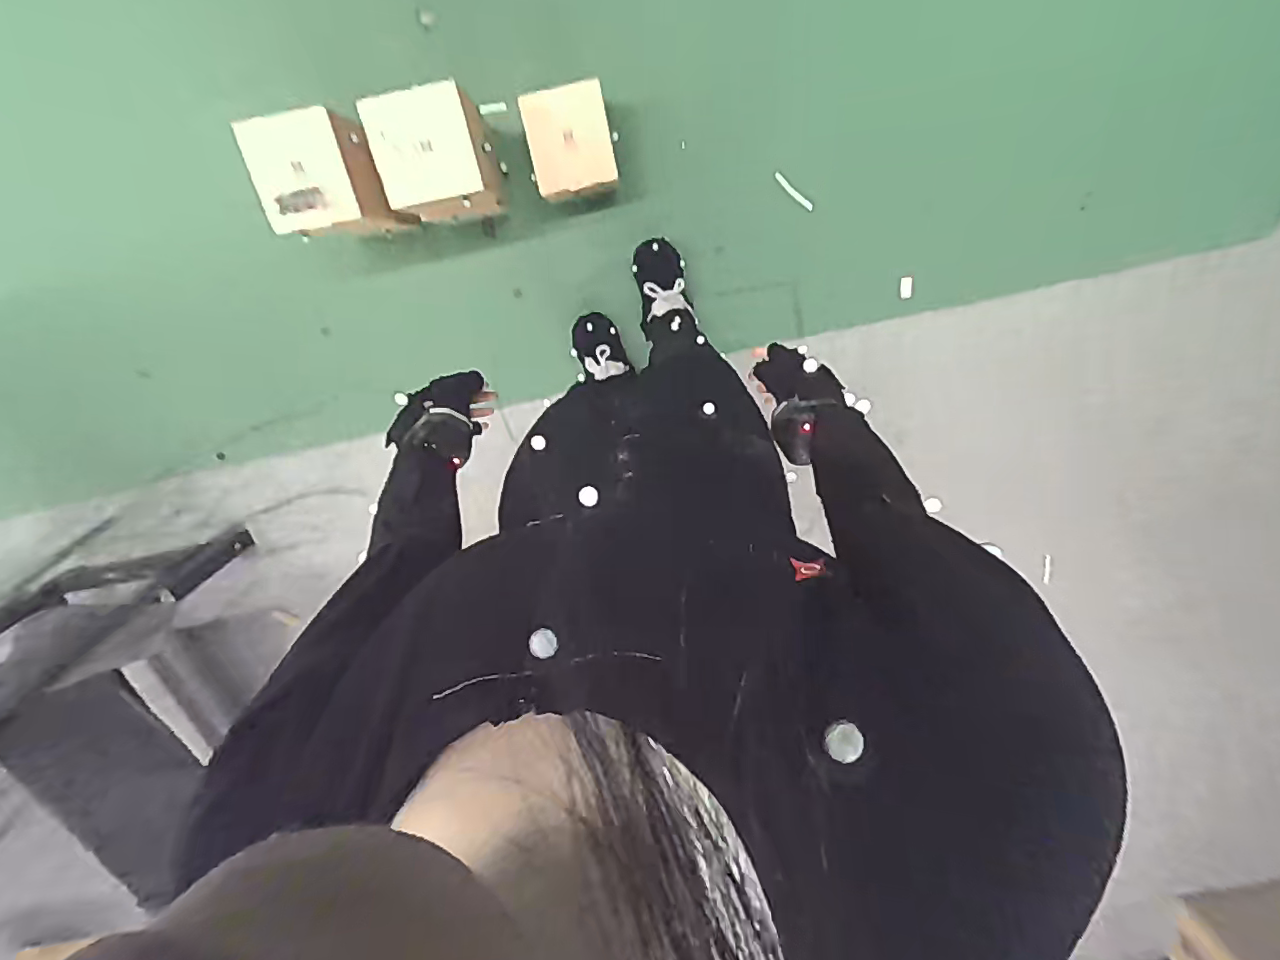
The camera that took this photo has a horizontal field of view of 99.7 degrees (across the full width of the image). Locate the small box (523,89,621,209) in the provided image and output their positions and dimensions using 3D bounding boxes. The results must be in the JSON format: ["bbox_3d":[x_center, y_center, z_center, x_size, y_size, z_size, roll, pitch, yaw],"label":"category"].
[{"bbox_3d":[-0.140,-0.701,1.164,0.168,0.176,0.179,-12,113,3],"label":"small box"}]

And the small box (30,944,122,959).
[{"bbox_3d":[-1.164,1.065,1.073,0.179,0.176,0.168,-12,112,5],"label":"small box"}]

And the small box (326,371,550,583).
[{"bbox_3d":[-0.229,-0.007,0.645,0.168,0.179,0.176,36,94,-8],"label":"small box"}]
